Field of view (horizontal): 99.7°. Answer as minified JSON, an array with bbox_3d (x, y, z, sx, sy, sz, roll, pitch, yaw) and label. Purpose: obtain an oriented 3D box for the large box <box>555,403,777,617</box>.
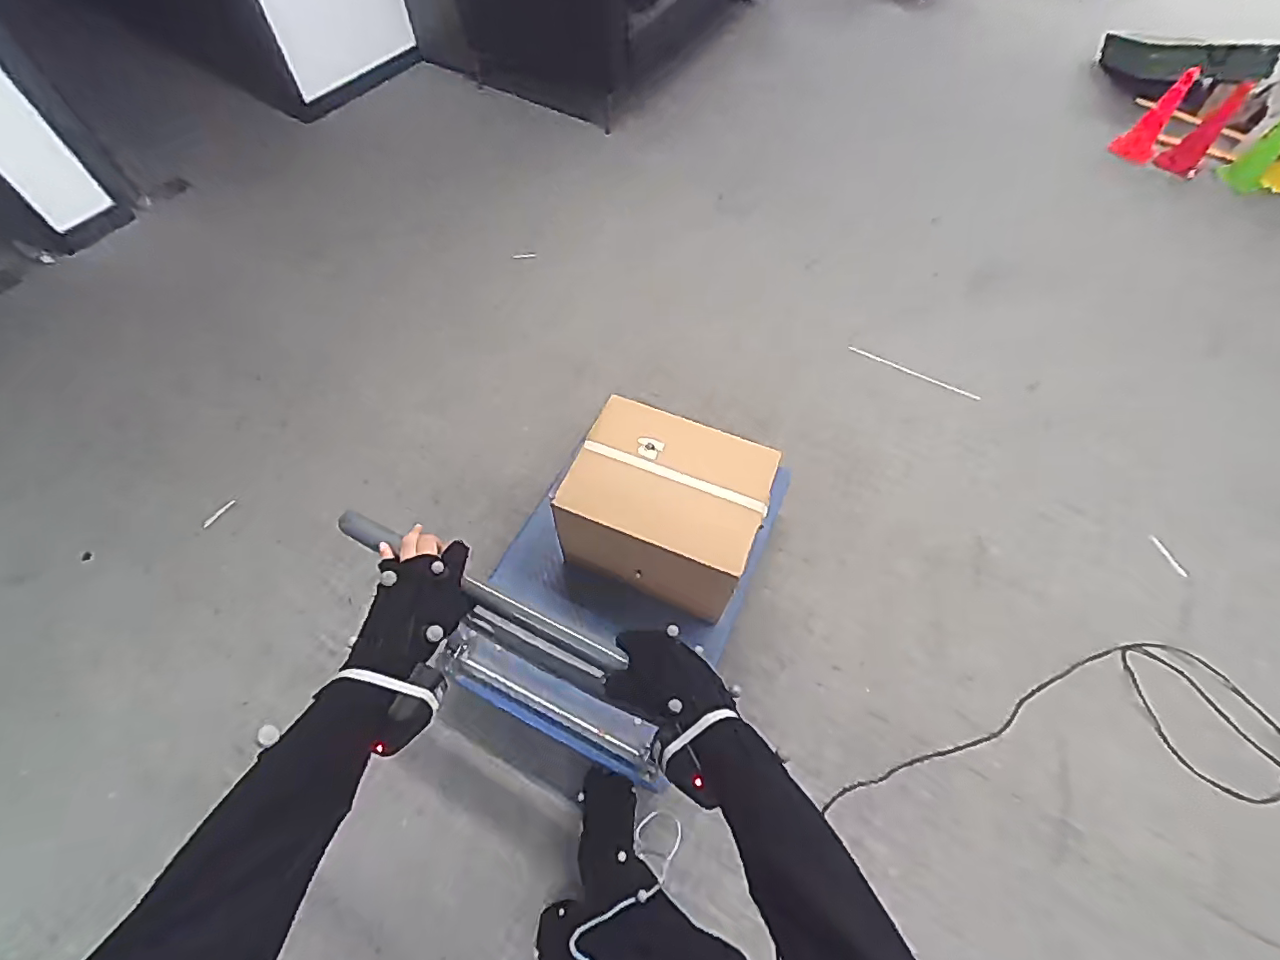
[{"bbox_3d":[0.065,0.078,1.269,0.408,0.320,0.320,19,61,11],"label":"large box"}]
